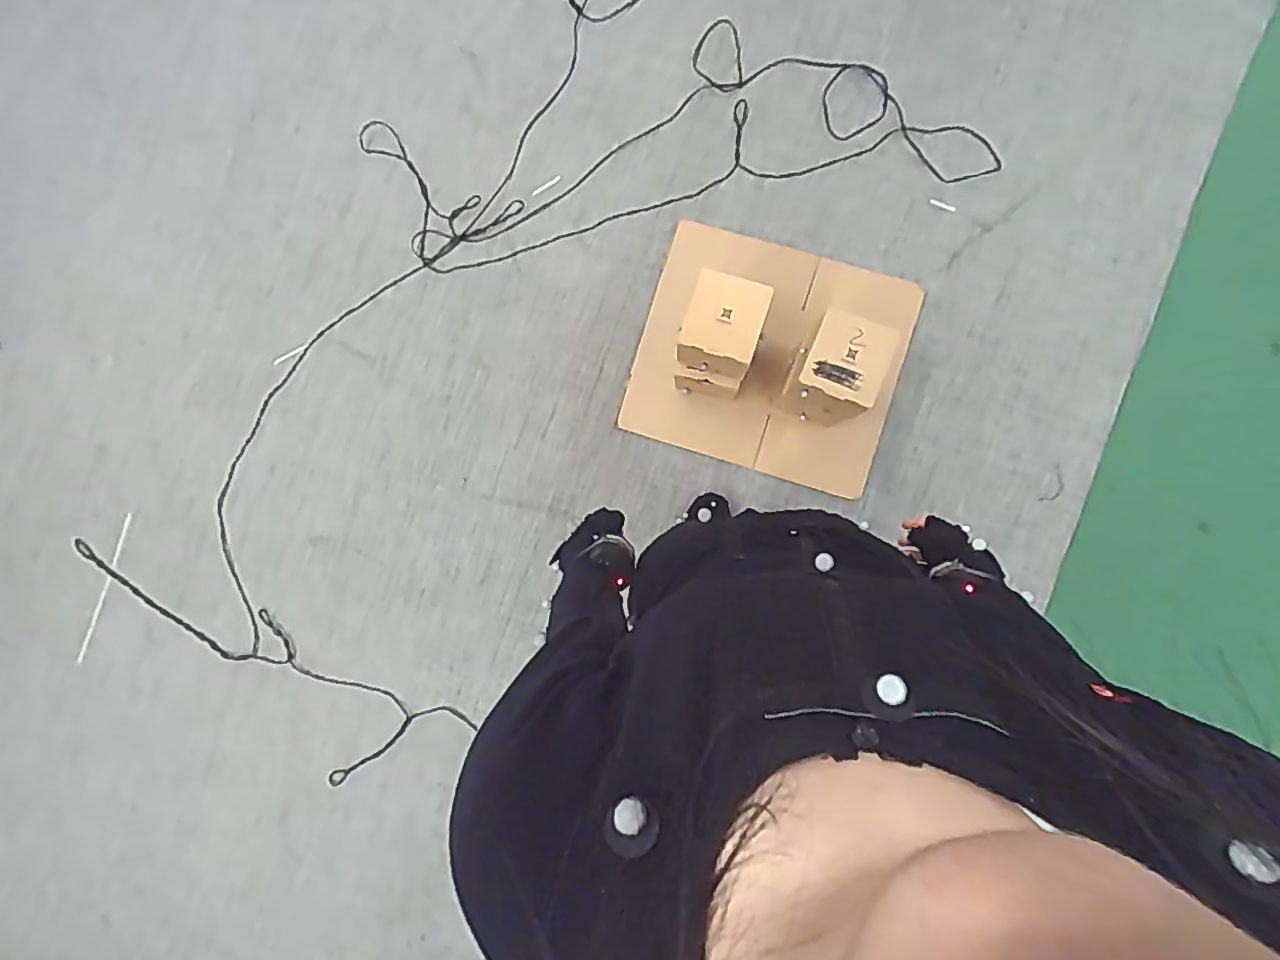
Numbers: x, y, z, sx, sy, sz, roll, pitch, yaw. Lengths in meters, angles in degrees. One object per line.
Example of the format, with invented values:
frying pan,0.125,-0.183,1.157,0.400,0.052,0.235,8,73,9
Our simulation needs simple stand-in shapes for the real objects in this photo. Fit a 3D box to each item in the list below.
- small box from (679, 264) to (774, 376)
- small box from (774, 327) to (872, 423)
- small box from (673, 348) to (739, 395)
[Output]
small box,0.189,-0.358,1.239,0.168,0.176,0.179,18,90,4
small box,0.457,-0.260,1.383,0.168,0.176,0.179,22,91,5
small box,0.188,-0.330,1.402,0.168,0.176,0.179,15,90,4
